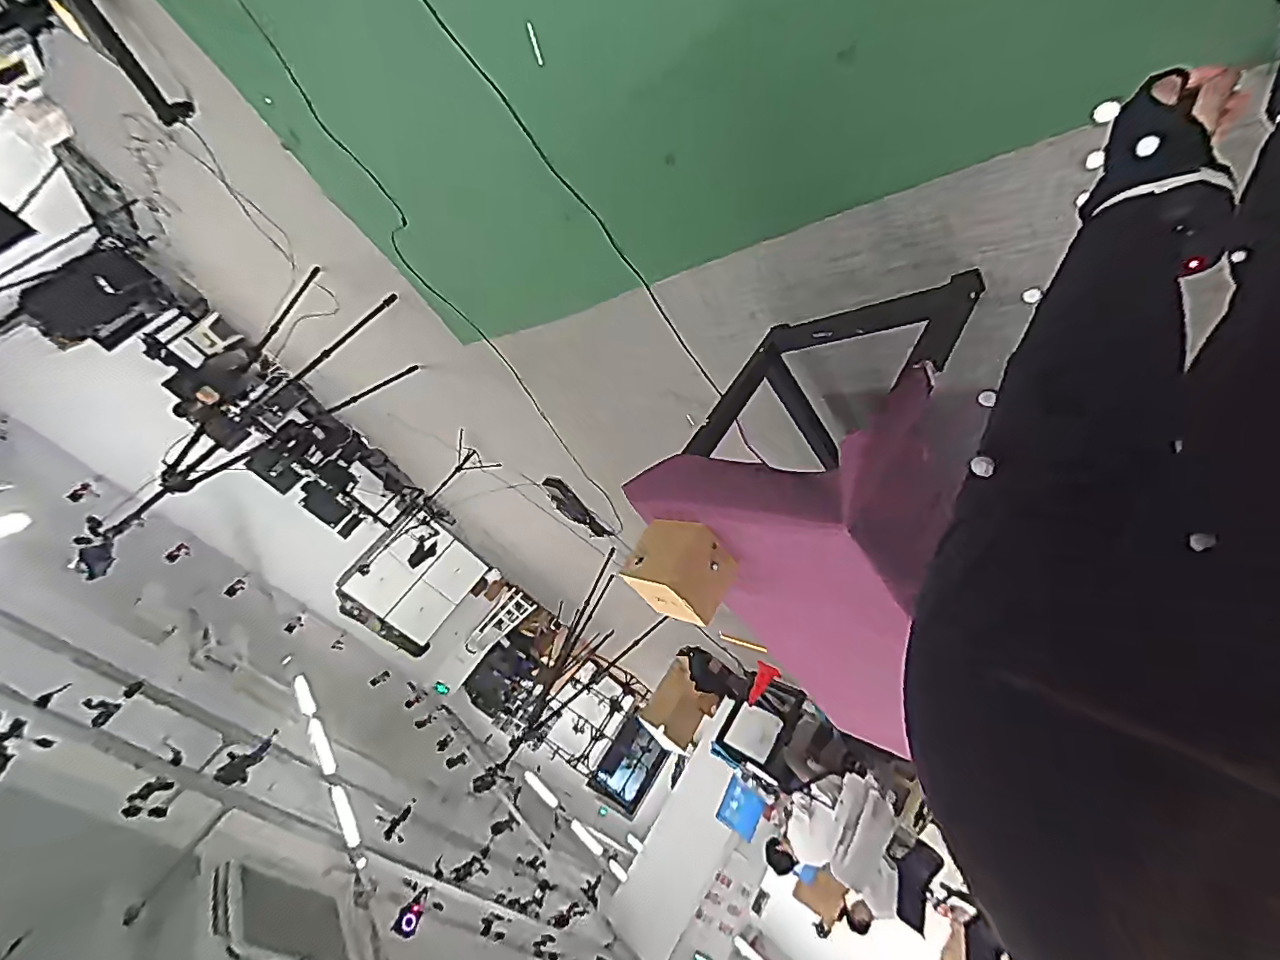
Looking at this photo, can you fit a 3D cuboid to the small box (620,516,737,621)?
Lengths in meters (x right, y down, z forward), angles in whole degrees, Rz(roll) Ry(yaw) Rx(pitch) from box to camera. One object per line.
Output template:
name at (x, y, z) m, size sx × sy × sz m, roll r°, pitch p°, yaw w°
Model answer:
small box at (0.094, 0.198, 1.263) m, size 0.179 × 0.176 × 0.168 m, roll 1°, pitch 140°, yaw 50°
